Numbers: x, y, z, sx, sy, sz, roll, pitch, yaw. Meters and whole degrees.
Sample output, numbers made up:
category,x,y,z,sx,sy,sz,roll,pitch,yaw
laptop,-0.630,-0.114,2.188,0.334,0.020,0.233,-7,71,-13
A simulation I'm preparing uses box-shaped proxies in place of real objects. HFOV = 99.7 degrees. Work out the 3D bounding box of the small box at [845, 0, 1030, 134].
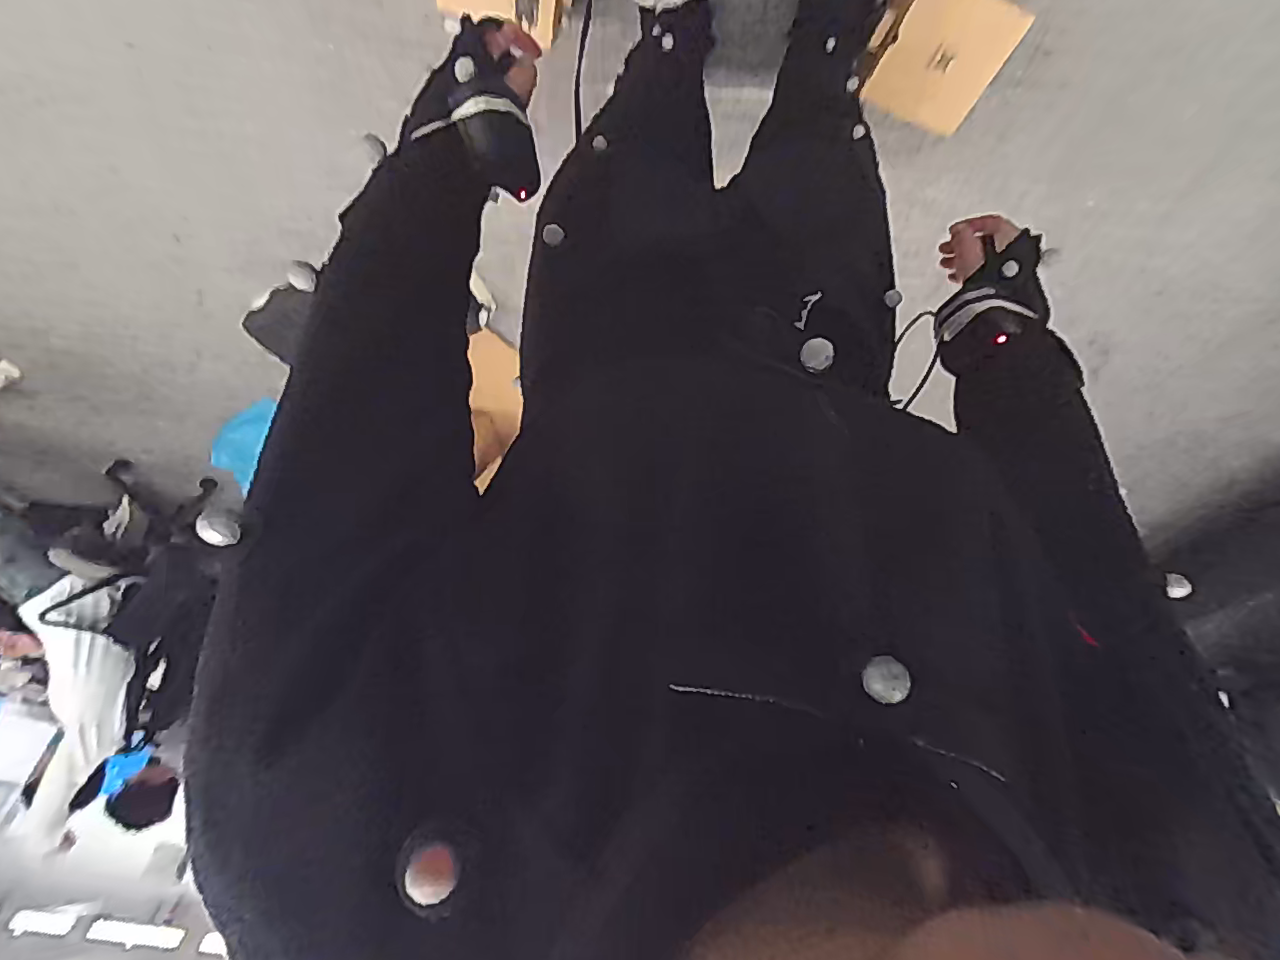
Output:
category,x,y,z,sx,sy,sz,roll,pitch,yaw
small box,0.446,-0.688,0.840,0.179,0.176,0.168,13,146,-11
